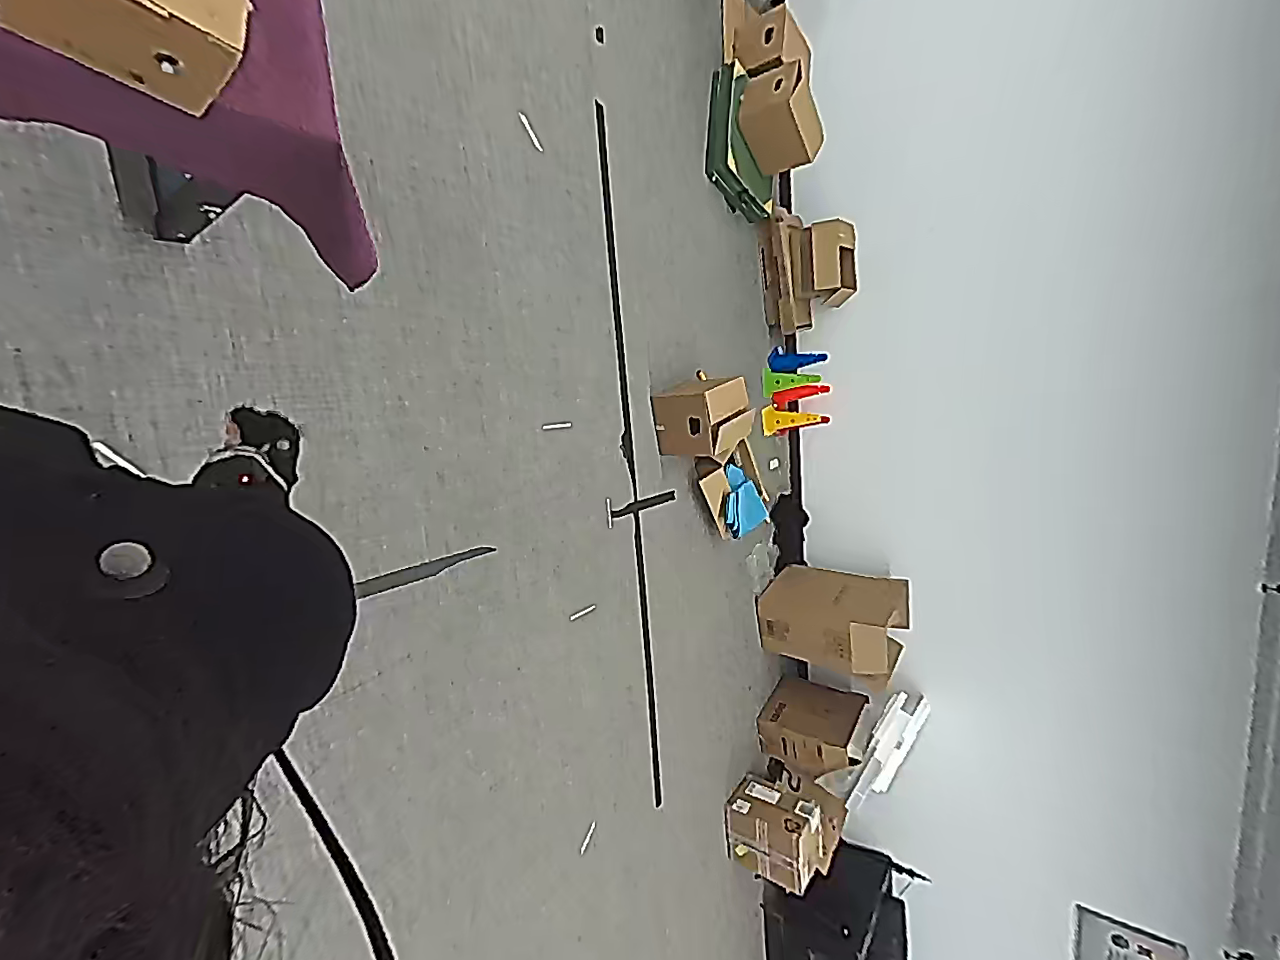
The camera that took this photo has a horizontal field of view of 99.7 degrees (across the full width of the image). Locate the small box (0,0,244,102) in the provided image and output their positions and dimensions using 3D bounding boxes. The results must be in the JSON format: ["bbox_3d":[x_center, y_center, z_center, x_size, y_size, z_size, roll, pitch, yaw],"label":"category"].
[{"bbox_3d":[-0.521,-0.534,0.544,0.168,0.176,0.179,5,86,-54],"label":"small box"}]
